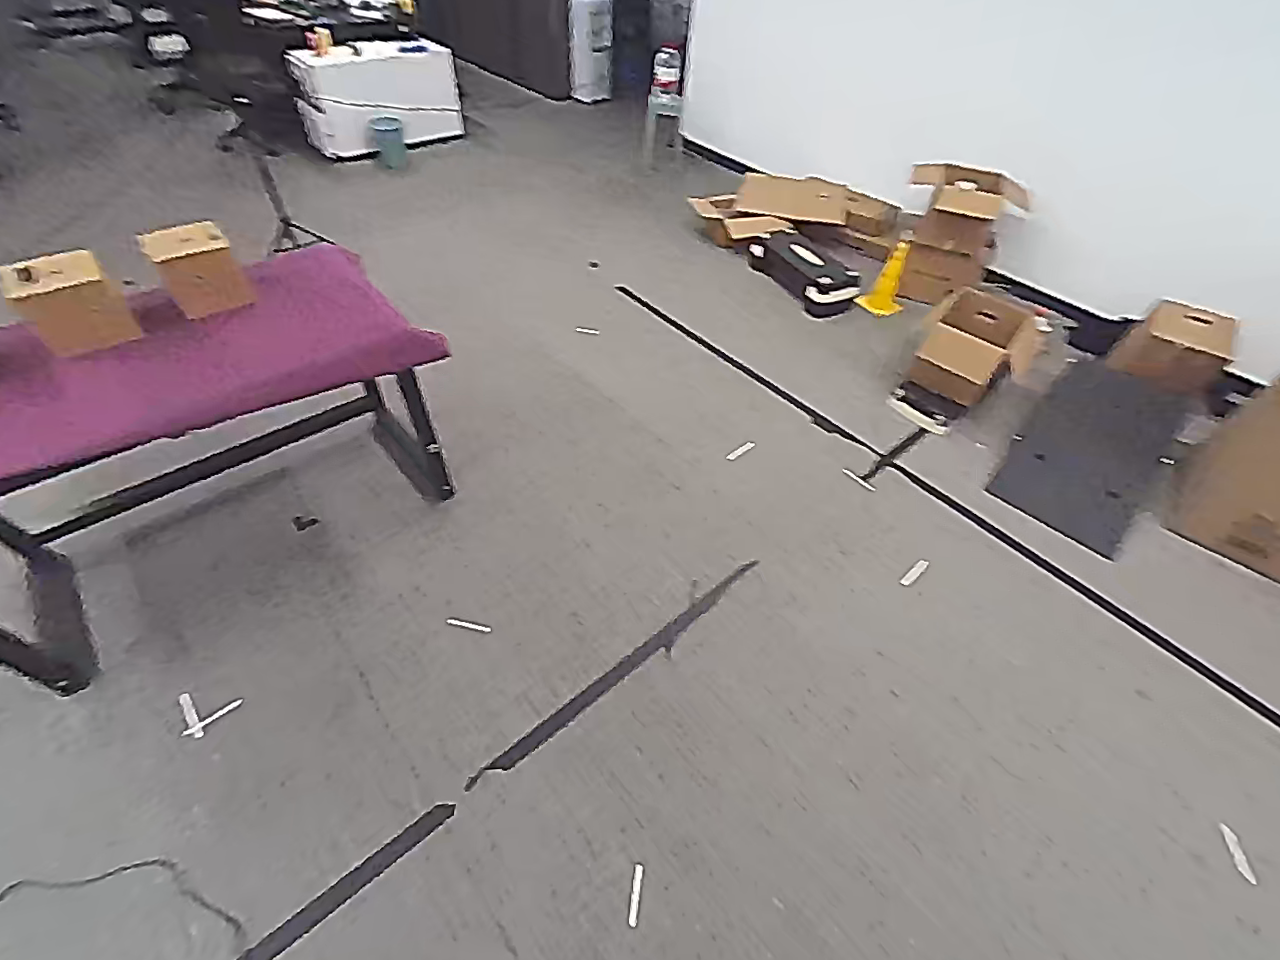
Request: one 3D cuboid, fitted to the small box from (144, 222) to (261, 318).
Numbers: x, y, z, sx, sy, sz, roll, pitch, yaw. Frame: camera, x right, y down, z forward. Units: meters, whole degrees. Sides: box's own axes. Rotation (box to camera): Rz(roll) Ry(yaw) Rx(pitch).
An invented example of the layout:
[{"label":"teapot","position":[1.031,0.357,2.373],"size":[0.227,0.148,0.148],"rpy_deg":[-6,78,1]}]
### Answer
[{"label":"small box","position":[-1.188,-0.570,1.477],"size":[0.179,0.176,0.168],"rpy_deg":[-31,60,-26]}]
